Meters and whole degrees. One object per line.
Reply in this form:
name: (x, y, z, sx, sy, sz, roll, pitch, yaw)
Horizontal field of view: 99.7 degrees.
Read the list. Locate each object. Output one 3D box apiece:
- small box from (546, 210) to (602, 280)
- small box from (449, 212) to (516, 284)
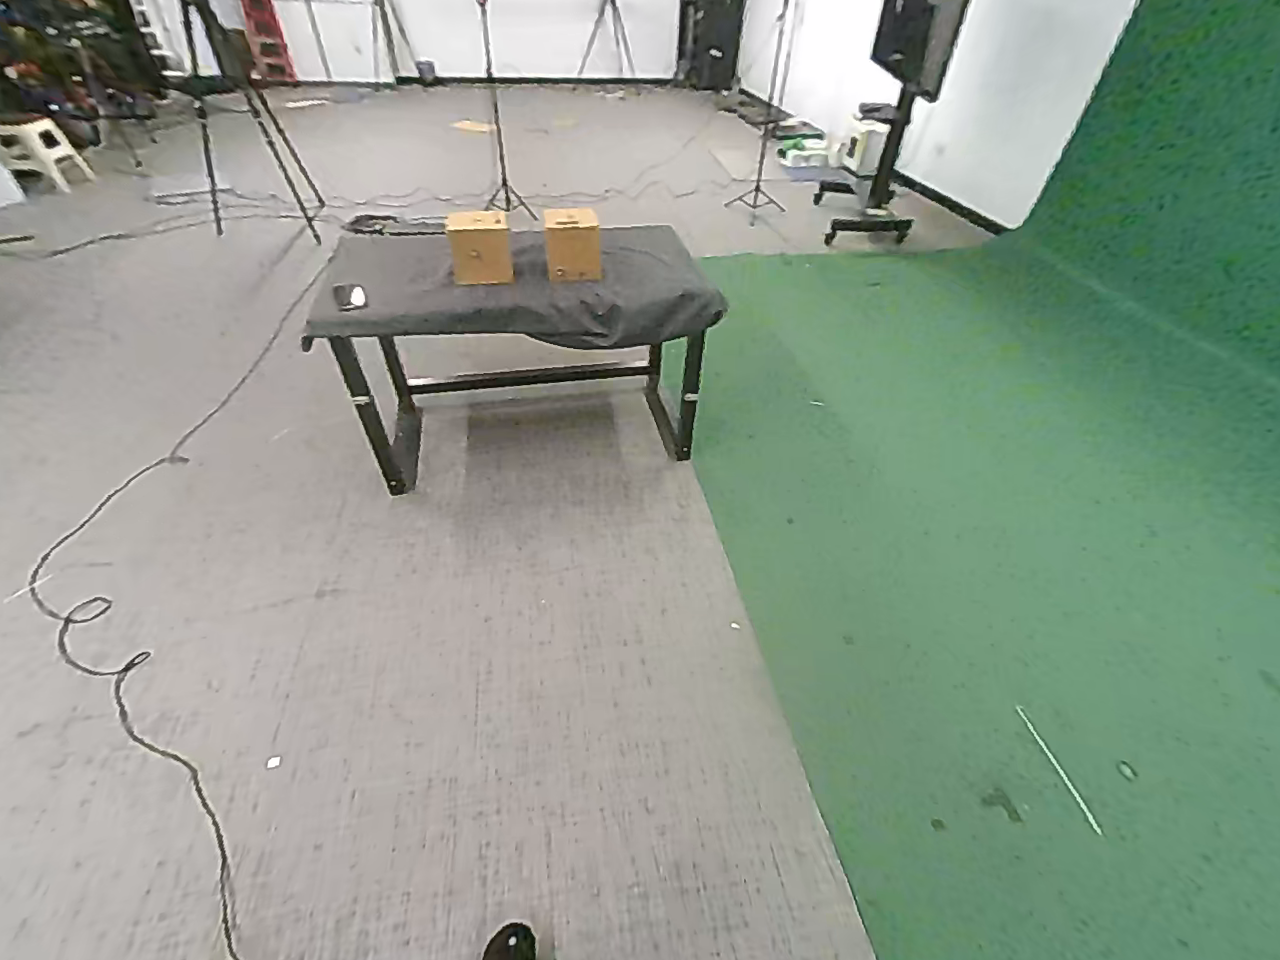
small box: (-0.216, -0.764, 1.763, 0.168, 0.176, 0.179, -5, 43, -9)
small box: (-0.497, -0.735, 1.717, 0.179, 0.176, 0.168, -7, 45, -10)
